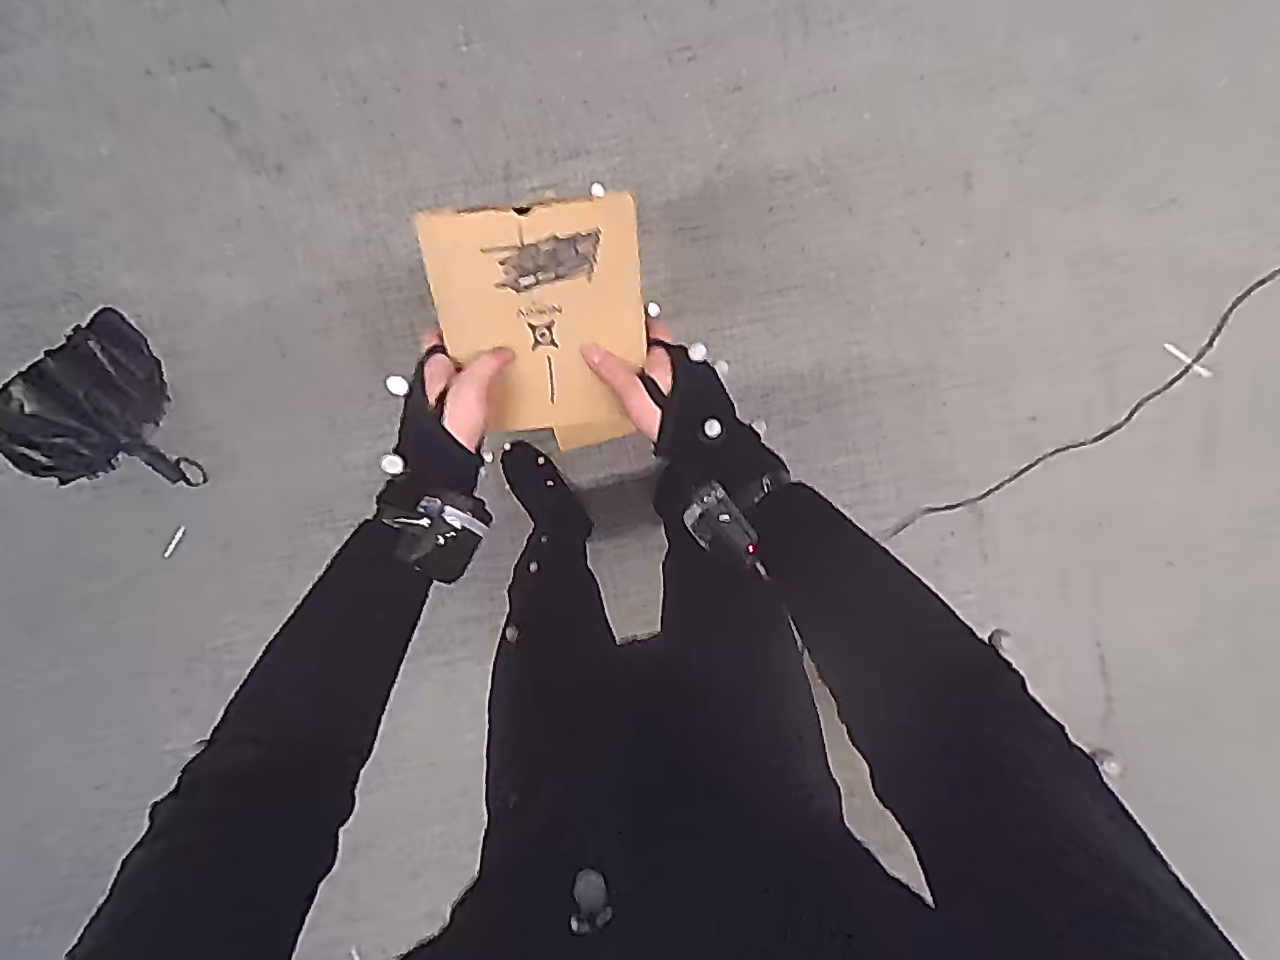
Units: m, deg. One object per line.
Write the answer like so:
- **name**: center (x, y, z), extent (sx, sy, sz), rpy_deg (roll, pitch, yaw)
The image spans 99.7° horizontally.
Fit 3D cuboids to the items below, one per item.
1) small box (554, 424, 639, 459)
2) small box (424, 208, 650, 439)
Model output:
- **small box**: center (-0.105, -0.164, 1.170), extent (0.168, 0.176, 0.179), rpy_deg (-16, 105, 5)
- **small box**: center (-0.082, -0.155, 0.523), extent (0.168, 0.176, 0.179), rpy_deg (-6, 115, 2)
